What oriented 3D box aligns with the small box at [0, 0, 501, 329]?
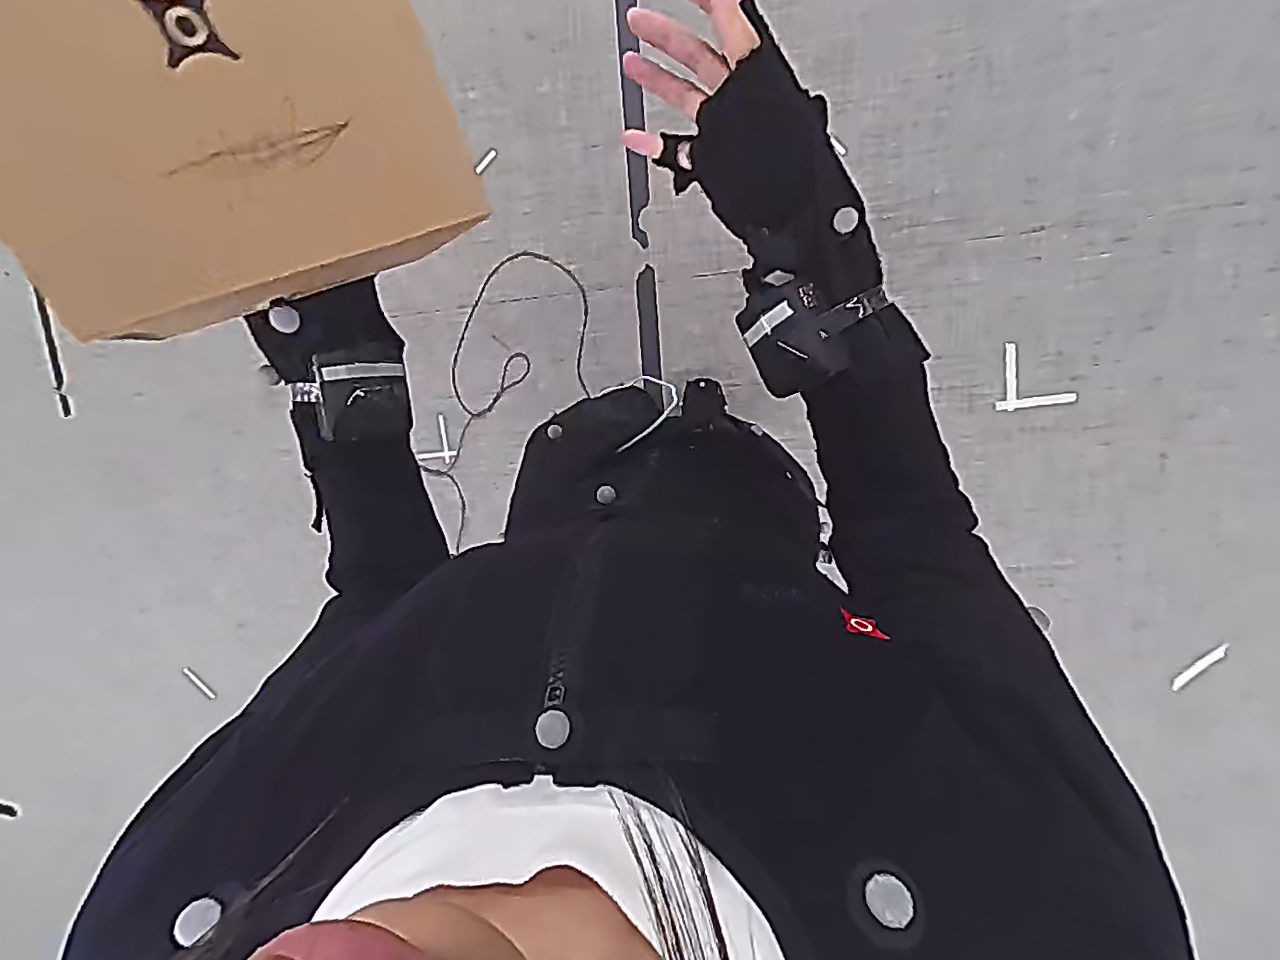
[{"bbox_3d":[-0.201,-0.185,0.267,0.168,0.176,0.179,-31,117,-24],"label":"small box"}]
